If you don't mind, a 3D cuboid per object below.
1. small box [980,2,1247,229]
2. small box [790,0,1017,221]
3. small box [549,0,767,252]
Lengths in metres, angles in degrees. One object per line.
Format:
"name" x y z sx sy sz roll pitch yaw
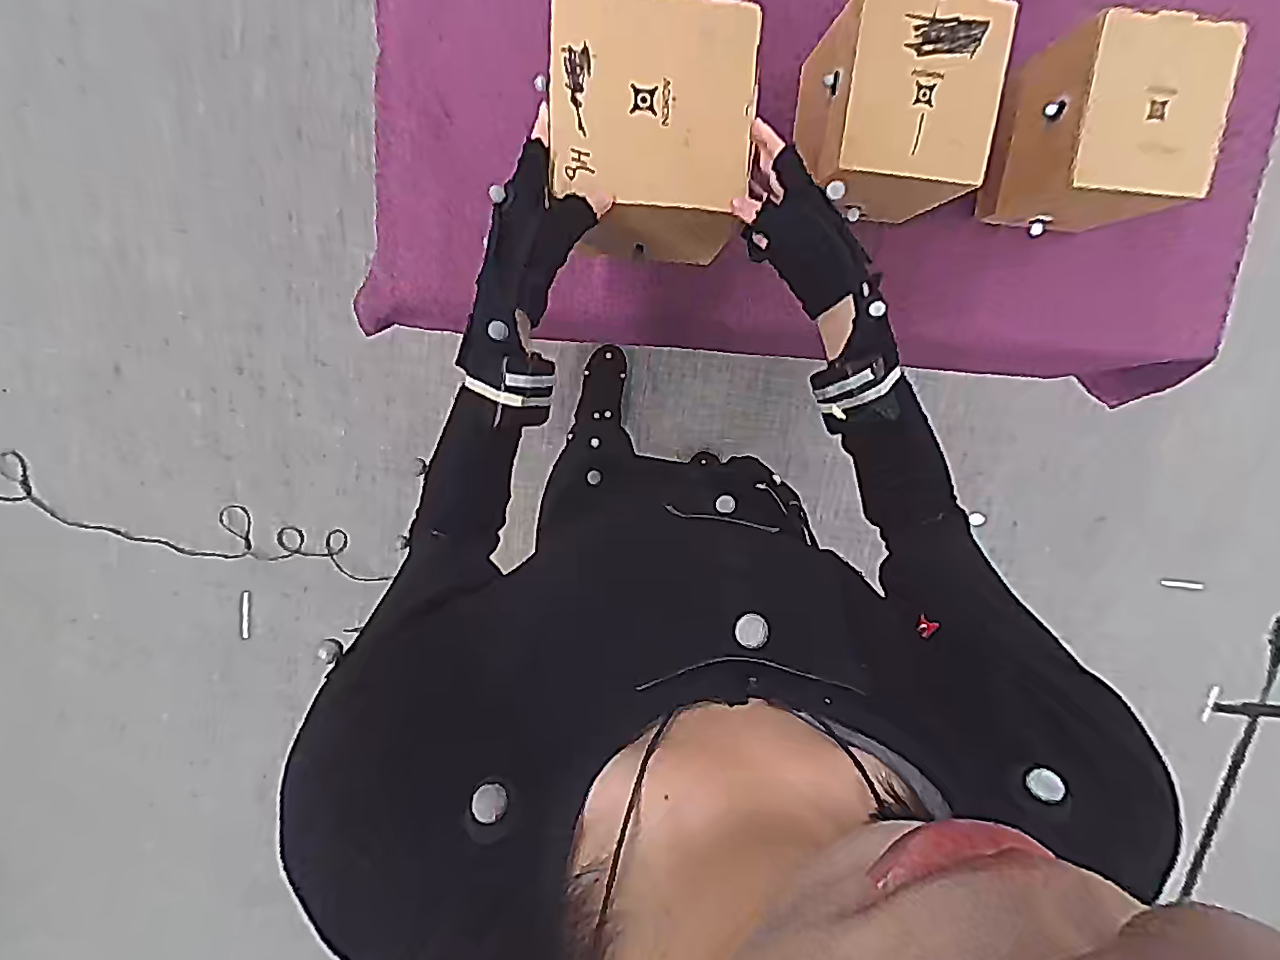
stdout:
"small box" 0.556 -0.426 0.663 0.168 0.176 0.179 2 102 -4
"small box" 0.291 -0.427 0.636 0.168 0.176 0.179 3 102 -6
"small box" 0.007 -0.332 0.526 0.179 0.176 0.168 2 97 -6
